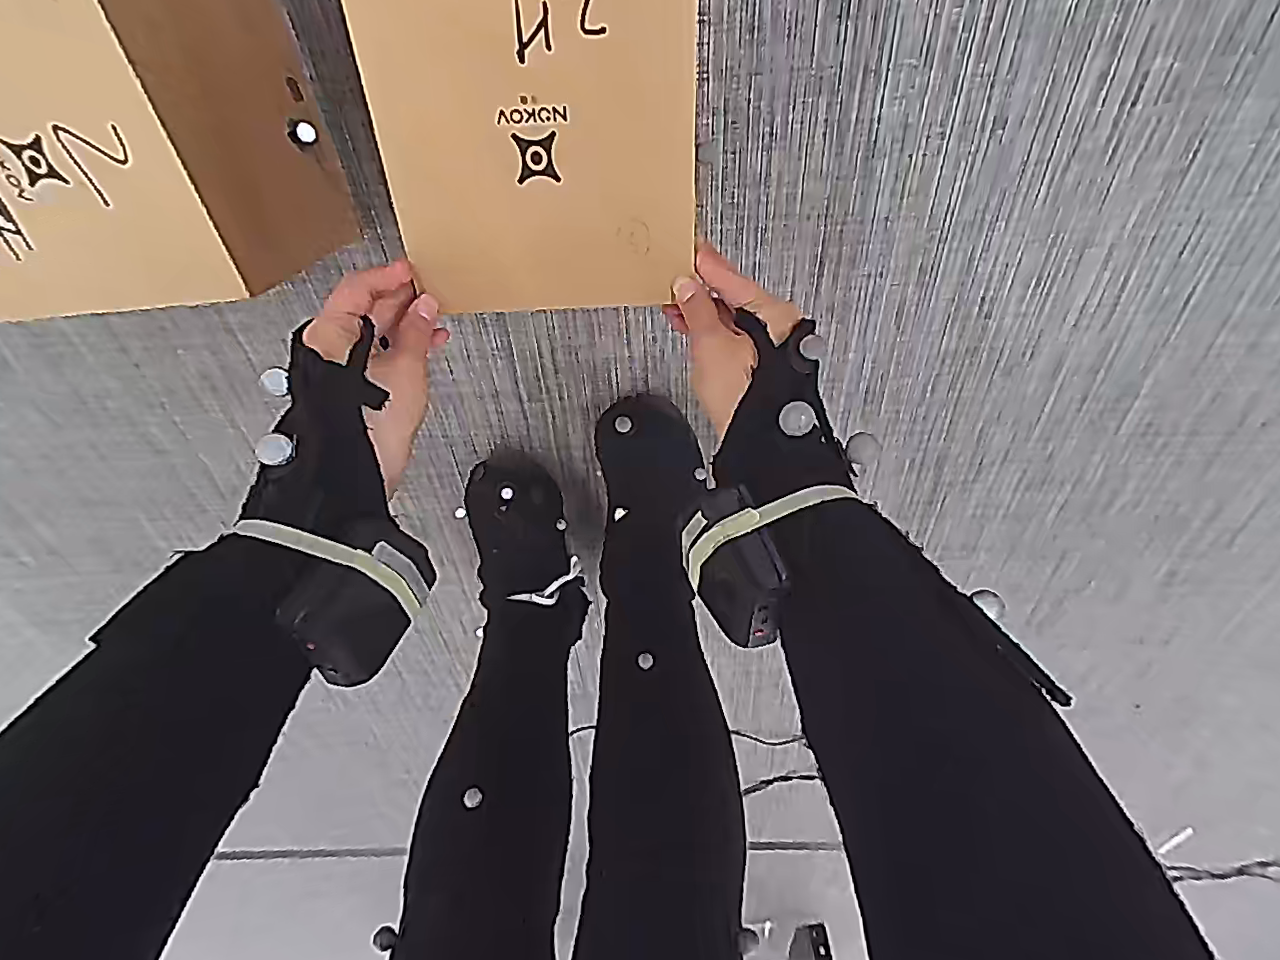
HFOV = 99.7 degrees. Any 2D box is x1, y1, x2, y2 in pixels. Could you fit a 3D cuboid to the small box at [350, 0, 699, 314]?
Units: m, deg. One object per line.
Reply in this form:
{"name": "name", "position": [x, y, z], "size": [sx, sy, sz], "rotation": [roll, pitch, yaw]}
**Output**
{"name": "small box", "position": [-0.052, -0.219, 0.350], "size": [0.168, 0.176, 0.179], "rotation": [-2, 122, 1]}
